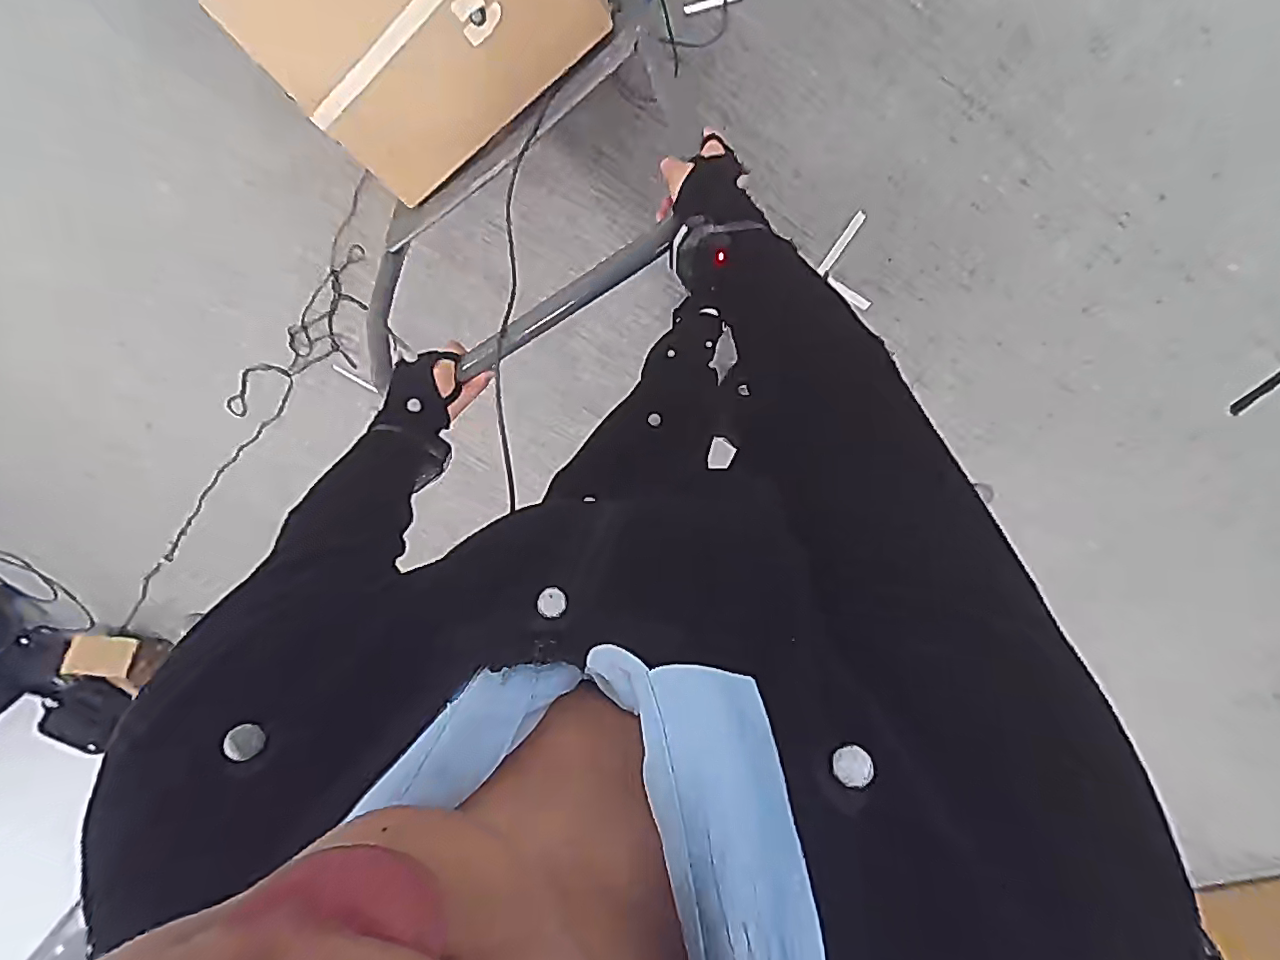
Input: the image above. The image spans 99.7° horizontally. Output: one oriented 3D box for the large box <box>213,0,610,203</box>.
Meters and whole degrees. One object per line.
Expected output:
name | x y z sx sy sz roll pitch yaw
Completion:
large box | -0.298 -0.709 0.781 0.408 0.320 0.320 -28 138 22
